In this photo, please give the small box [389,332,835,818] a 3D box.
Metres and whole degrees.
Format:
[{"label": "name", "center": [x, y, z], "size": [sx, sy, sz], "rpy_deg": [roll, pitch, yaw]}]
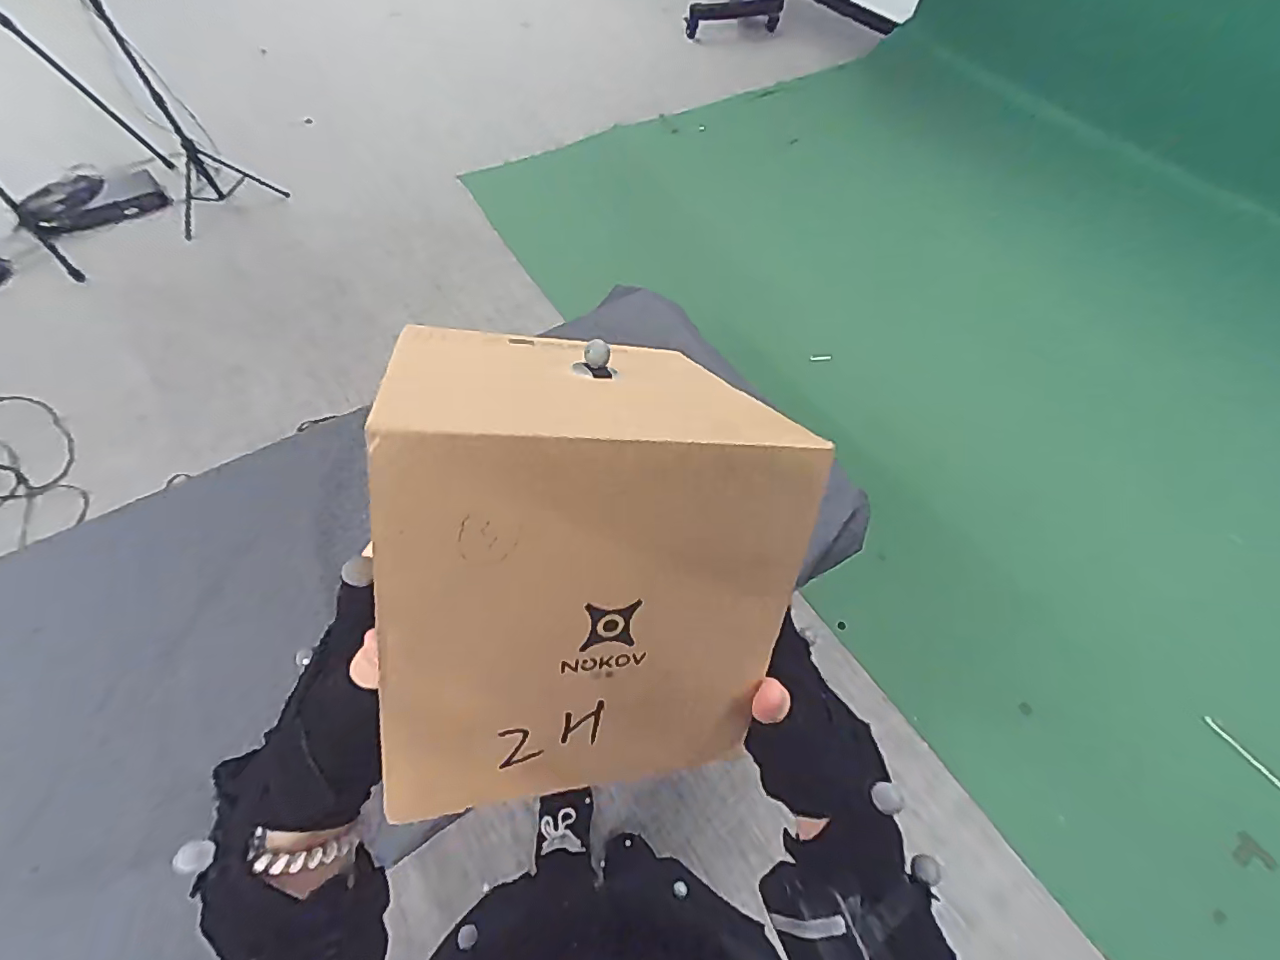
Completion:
[{"label": "small box", "center": [-0.036, 0.027, 0.285], "size": [0.168, 0.179, 0.176], "rpy_deg": [2, 23, -21]}]
